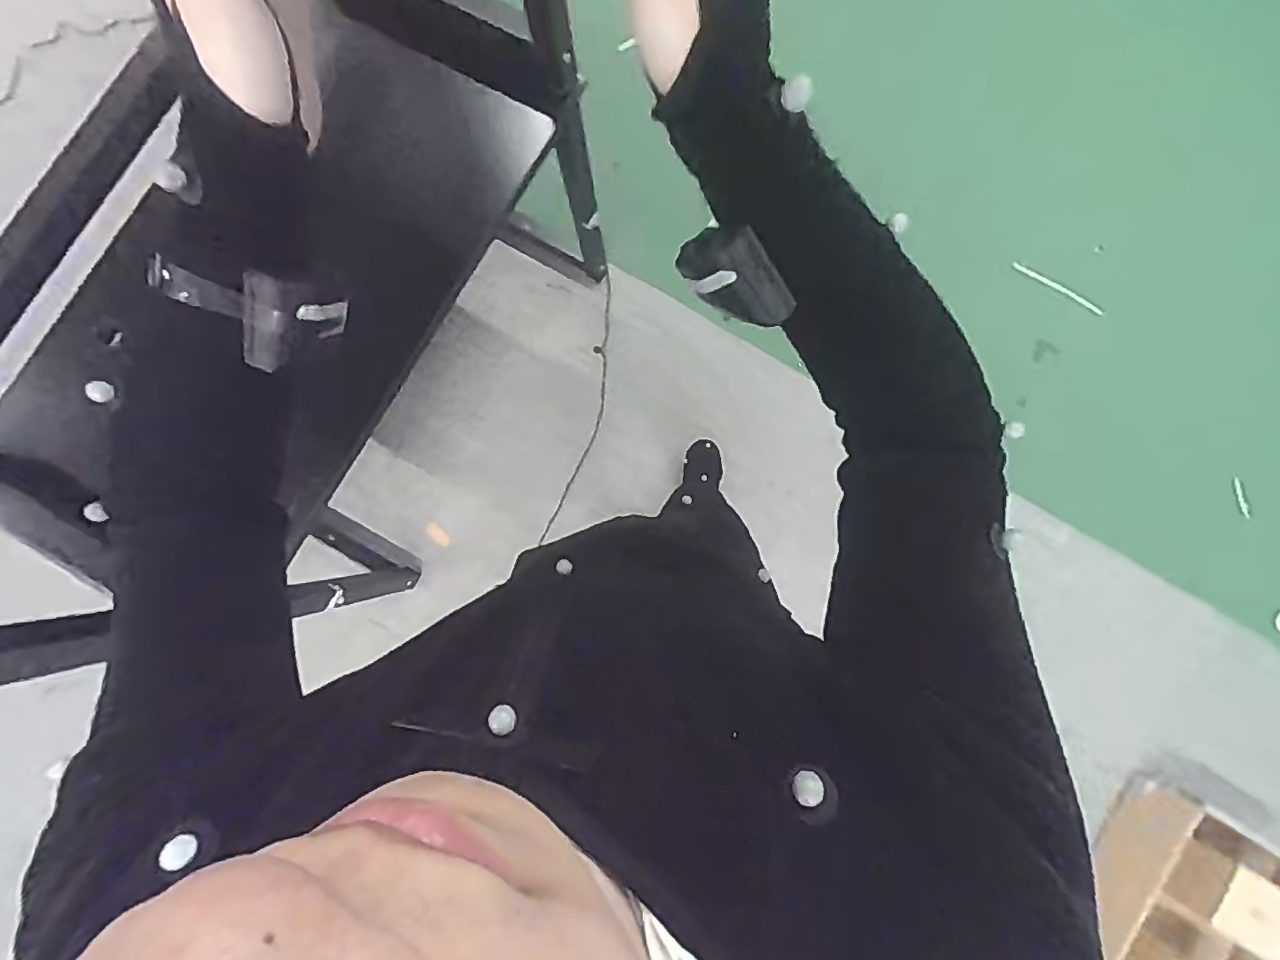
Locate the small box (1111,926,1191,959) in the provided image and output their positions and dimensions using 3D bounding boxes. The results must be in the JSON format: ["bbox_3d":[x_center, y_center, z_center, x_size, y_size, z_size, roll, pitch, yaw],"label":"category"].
[{"bbox_3d":[1.353,1.292,1.365,0.179,0.176,0.168,32,84,5],"label":"small box"}]

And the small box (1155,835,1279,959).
[{"bbox_3d":[1.498,1.059,1.386,0.179,0.176,0.168,32,86,3],"label":"small box"}]
